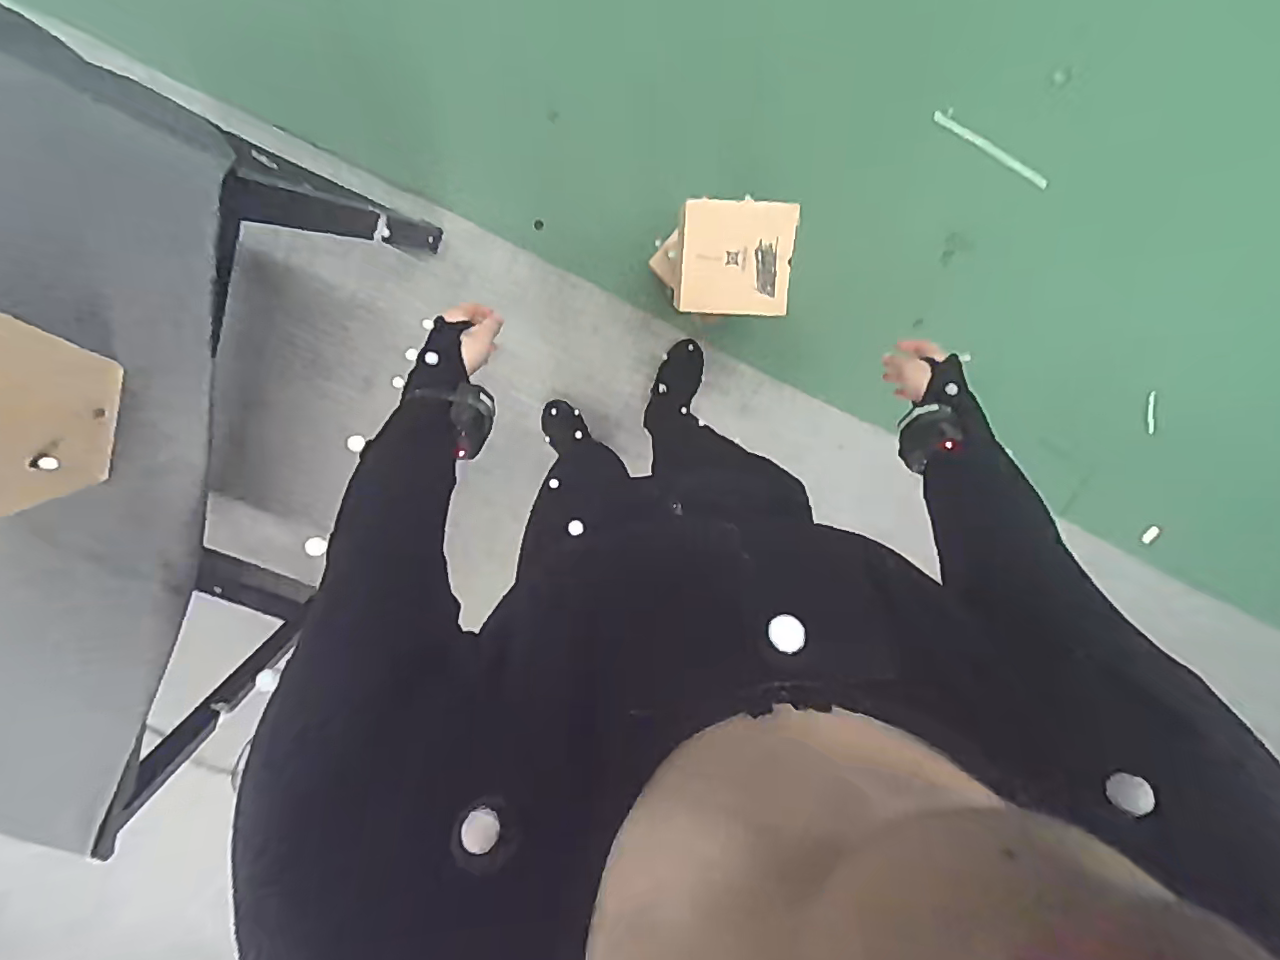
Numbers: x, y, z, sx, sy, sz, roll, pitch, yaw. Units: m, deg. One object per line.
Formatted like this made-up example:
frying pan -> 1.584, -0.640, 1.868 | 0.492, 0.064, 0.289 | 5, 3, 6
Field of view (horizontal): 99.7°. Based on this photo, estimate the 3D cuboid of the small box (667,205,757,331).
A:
small box -> 0.164, -0.414, 1.072 | 0.179, 0.176, 0.168 | -26, 109, 8

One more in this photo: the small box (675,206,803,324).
small box -> 0.156, -0.362, 0.916 | 0.179, 0.176, 0.168 | 3, 111, 0

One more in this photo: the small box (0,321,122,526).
small box -> -0.734, -0.069, 0.593 | 0.179, 0.176, 0.168 | 24, 108, -7

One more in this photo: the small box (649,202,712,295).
small box -> 0.138, -0.486, 1.219 | 0.168, 0.176, 0.179 | 40, 105, -13
